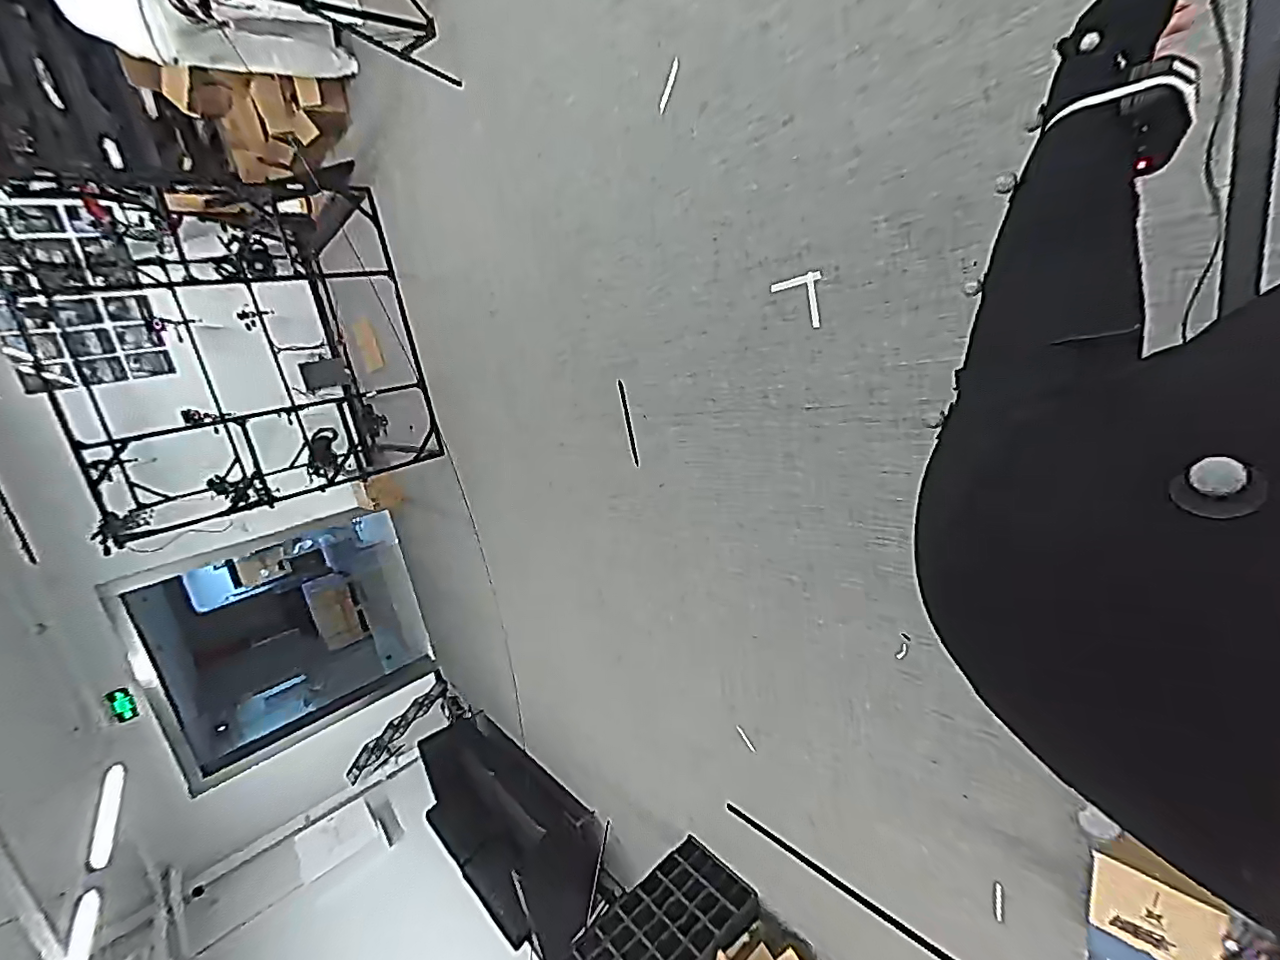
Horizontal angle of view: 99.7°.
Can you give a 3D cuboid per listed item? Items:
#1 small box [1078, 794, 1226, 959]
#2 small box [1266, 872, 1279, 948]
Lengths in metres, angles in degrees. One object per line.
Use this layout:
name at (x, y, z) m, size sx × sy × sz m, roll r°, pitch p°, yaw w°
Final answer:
small box at (0.920, 0.723, 0.974) m, size 0.168 × 0.176 × 0.179 m, roll 10°, pitch 114°, yaw 49°
small box at (1.063, 0.747, 0.806) m, size 0.168 × 0.176 × 0.179 m, roll 3°, pitch 109°, yaw 51°
